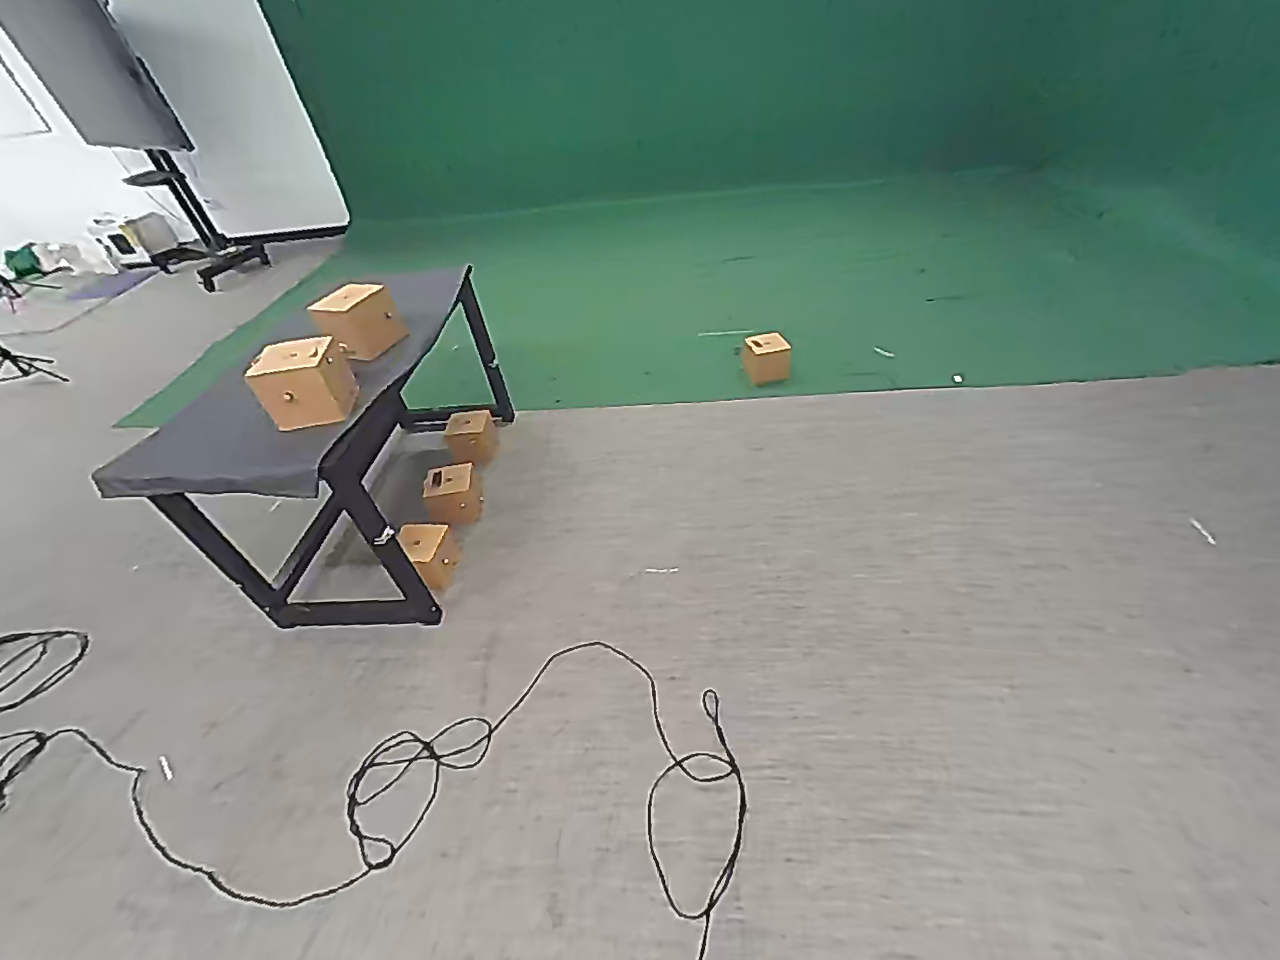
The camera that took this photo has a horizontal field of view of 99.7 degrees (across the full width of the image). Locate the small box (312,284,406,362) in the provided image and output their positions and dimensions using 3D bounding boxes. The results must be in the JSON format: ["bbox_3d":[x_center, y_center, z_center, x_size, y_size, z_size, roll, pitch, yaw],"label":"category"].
[{"bbox_3d":[-0.859,-0.489,1.679,0.168,0.176,0.179,10,47,23],"label":"small box"}]

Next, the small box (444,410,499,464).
[{"bbox_3d":[-0.745,-0.190,2.414,0.179,0.176,0.168,-5,42,3],"label":"small box"}]

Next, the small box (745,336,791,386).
[{"bbox_3d":[0.618,-0.575,2.633,0.179,0.176,0.168,-12,43,-6],"label":"small box"}]

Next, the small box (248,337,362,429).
[{"bbox_3d":[-0.872,-0.253,1.425,0.179,0.176,0.168,-10,43,-3],"label":"small box"}]

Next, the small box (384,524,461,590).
[{"bbox_3d":[-0.762,0.276,1.919,0.179,0.176,0.168,0,43,9],"label":"small box"}]
